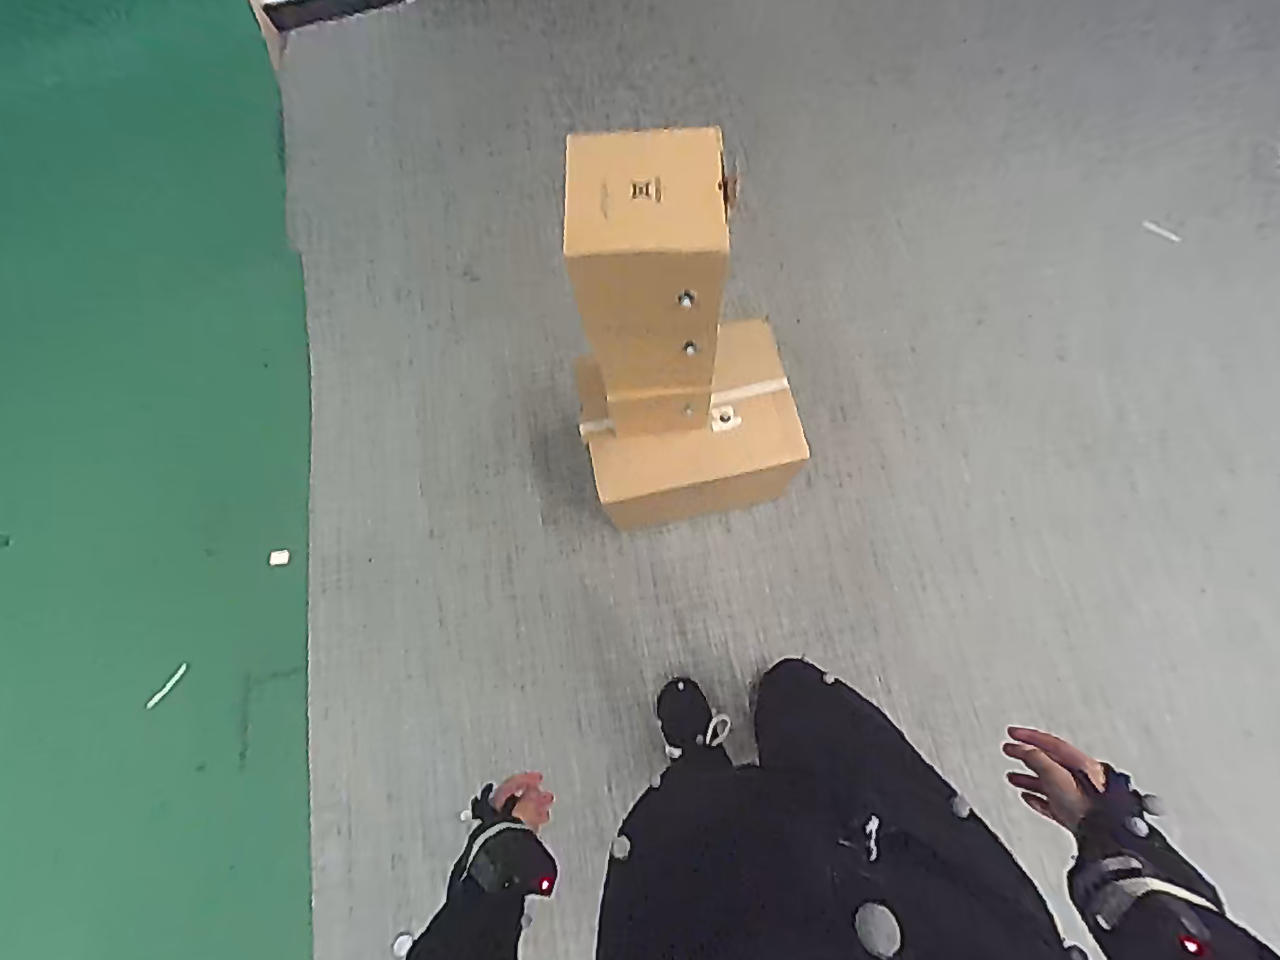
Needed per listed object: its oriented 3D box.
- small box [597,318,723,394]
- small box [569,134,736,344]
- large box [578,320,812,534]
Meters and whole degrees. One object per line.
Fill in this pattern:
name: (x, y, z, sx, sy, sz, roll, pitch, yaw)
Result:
small box: (0.025, -0.240, 0.816, 0.179, 0.176, 0.168, -1, 72, 0)
small box: (0.016, -0.281, 0.658, 0.179, 0.176, 0.168, -2, 72, 4)
large box: (0.106, -0.096, 1.192, 0.408, 0.320, 0.320, -12, 74, 0)
